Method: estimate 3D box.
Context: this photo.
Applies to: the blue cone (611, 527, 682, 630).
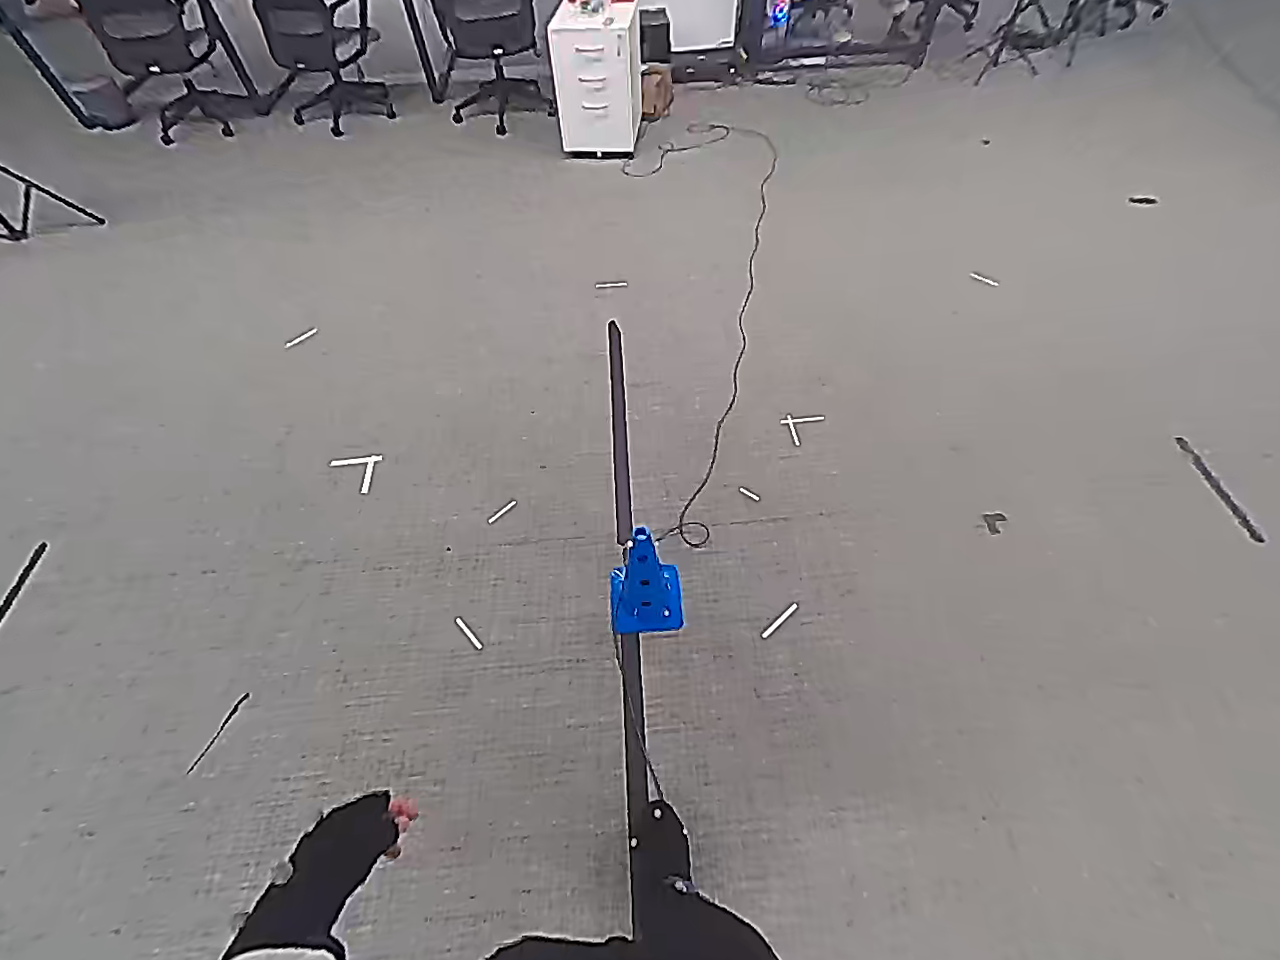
[{"bbox_3d":[0.011,0.223,1.381,0.193,0.380,0.192,-5,54,-2],"label":"blue cone"}]
